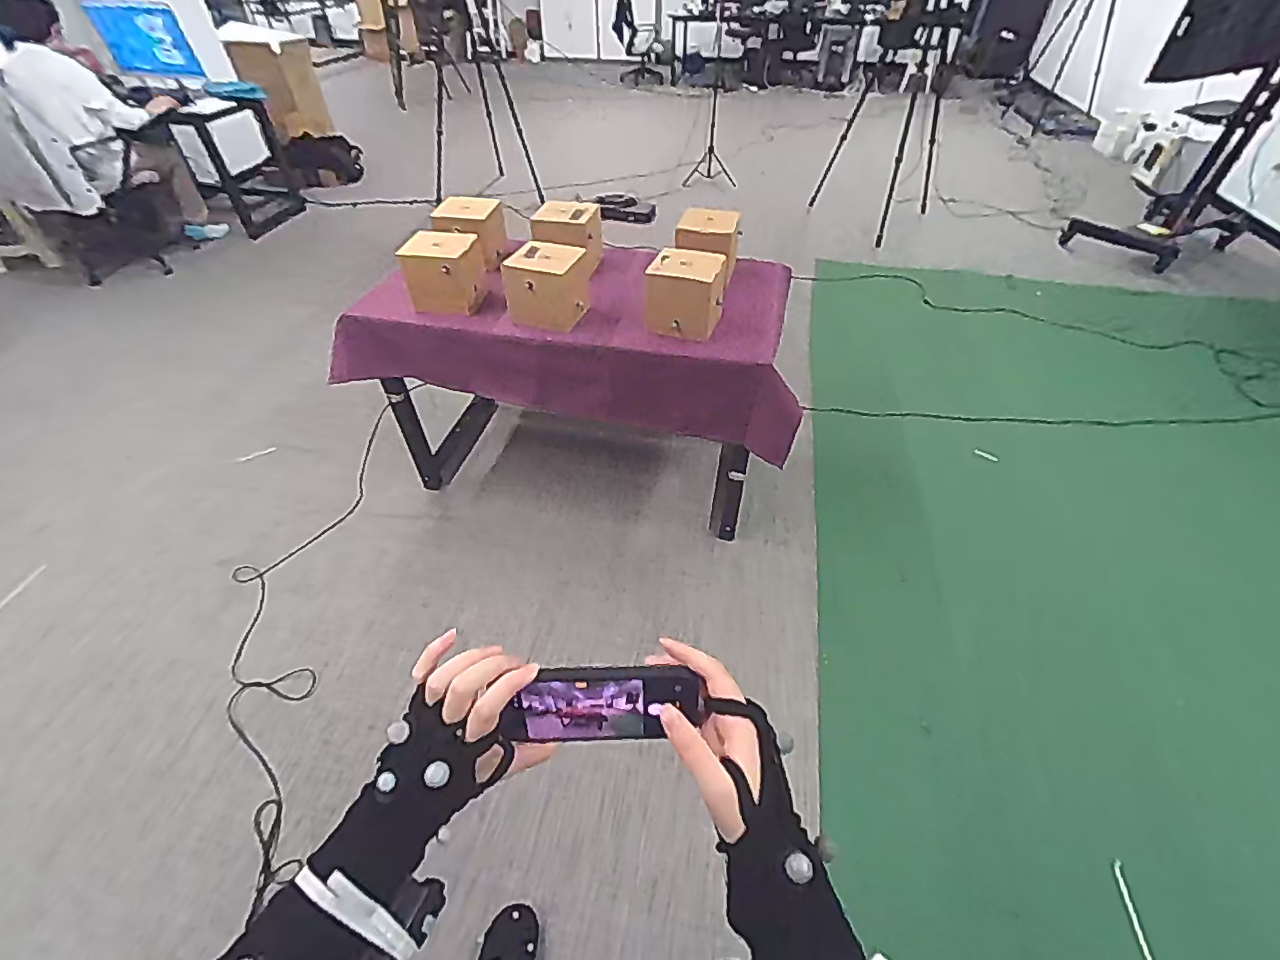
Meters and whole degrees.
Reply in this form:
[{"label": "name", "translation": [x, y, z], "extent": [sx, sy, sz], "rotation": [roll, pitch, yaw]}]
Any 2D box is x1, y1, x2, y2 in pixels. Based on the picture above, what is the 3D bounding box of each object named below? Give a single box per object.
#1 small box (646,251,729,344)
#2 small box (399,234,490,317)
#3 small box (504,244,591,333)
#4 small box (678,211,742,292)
[{"label": "small box", "translation": [0.124, -0.484, 1.443], "extent": [0.179, 0.176, 0.168], "rotation": [15, 46, 13]}, {"label": "small box", "translation": [-0.546, -0.580, 1.535], "extent": [0.179, 0.176, 0.168], "rotation": [6, 45, 4]}, {"label": "small box", "translation": [-0.244, -0.520, 1.477], "extent": [0.179, 0.176, 0.168], "rotation": [14, 47, 12]}, {"label": "small box", "translation": [0.210, -0.698, 1.656], "extent": [0.168, 0.176, 0.179], "rotation": [12, 47, 12]}]
